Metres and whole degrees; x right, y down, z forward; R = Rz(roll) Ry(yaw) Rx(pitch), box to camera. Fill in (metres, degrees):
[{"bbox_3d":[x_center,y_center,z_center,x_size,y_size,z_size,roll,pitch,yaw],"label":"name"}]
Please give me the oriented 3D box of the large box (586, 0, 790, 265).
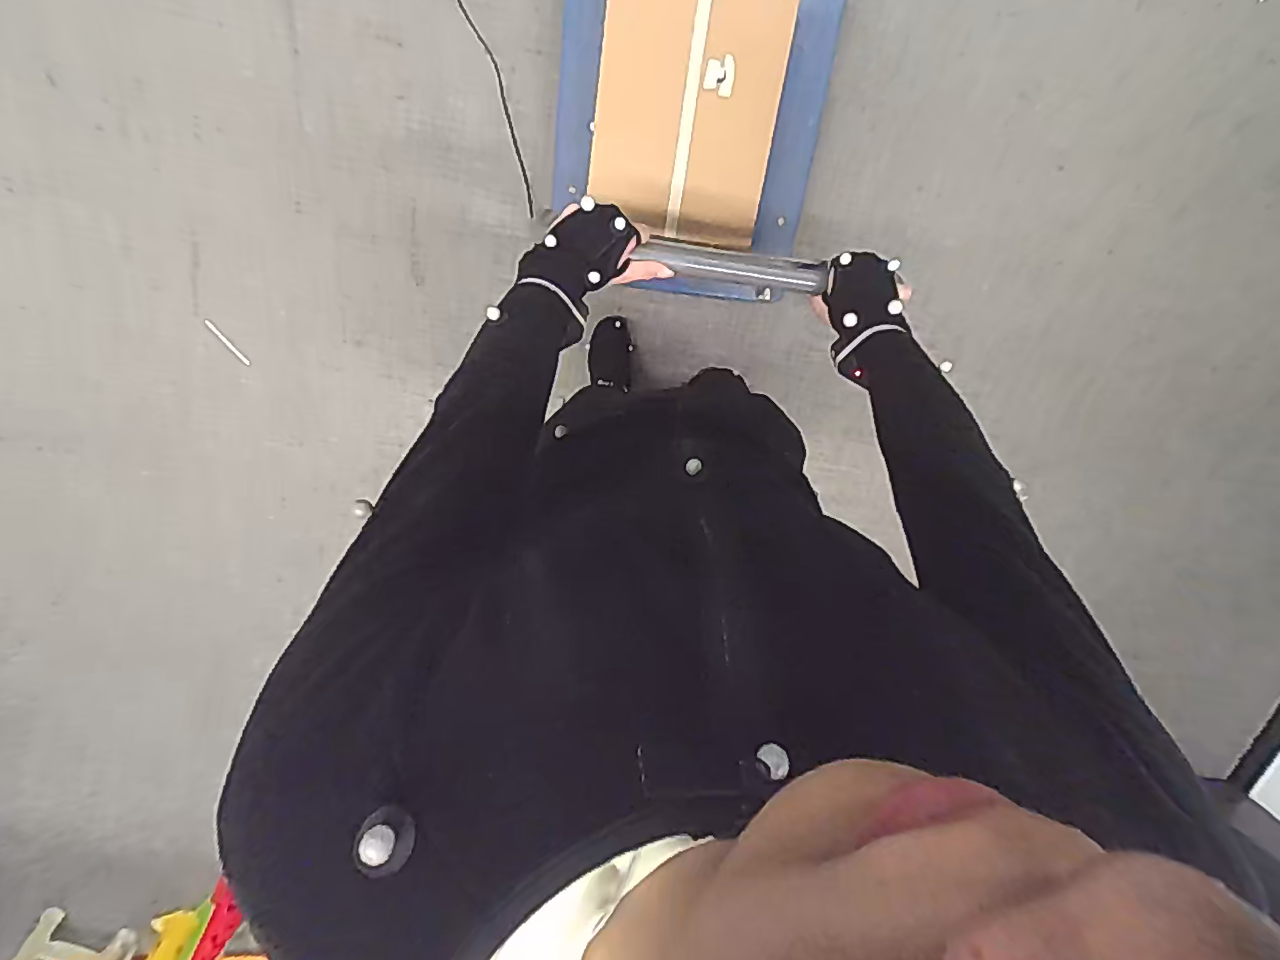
[{"bbox_3d":[0.071,-0.670,1.085,0.320,0.320,0.408,6,108,-6],"label":"large box"}]
